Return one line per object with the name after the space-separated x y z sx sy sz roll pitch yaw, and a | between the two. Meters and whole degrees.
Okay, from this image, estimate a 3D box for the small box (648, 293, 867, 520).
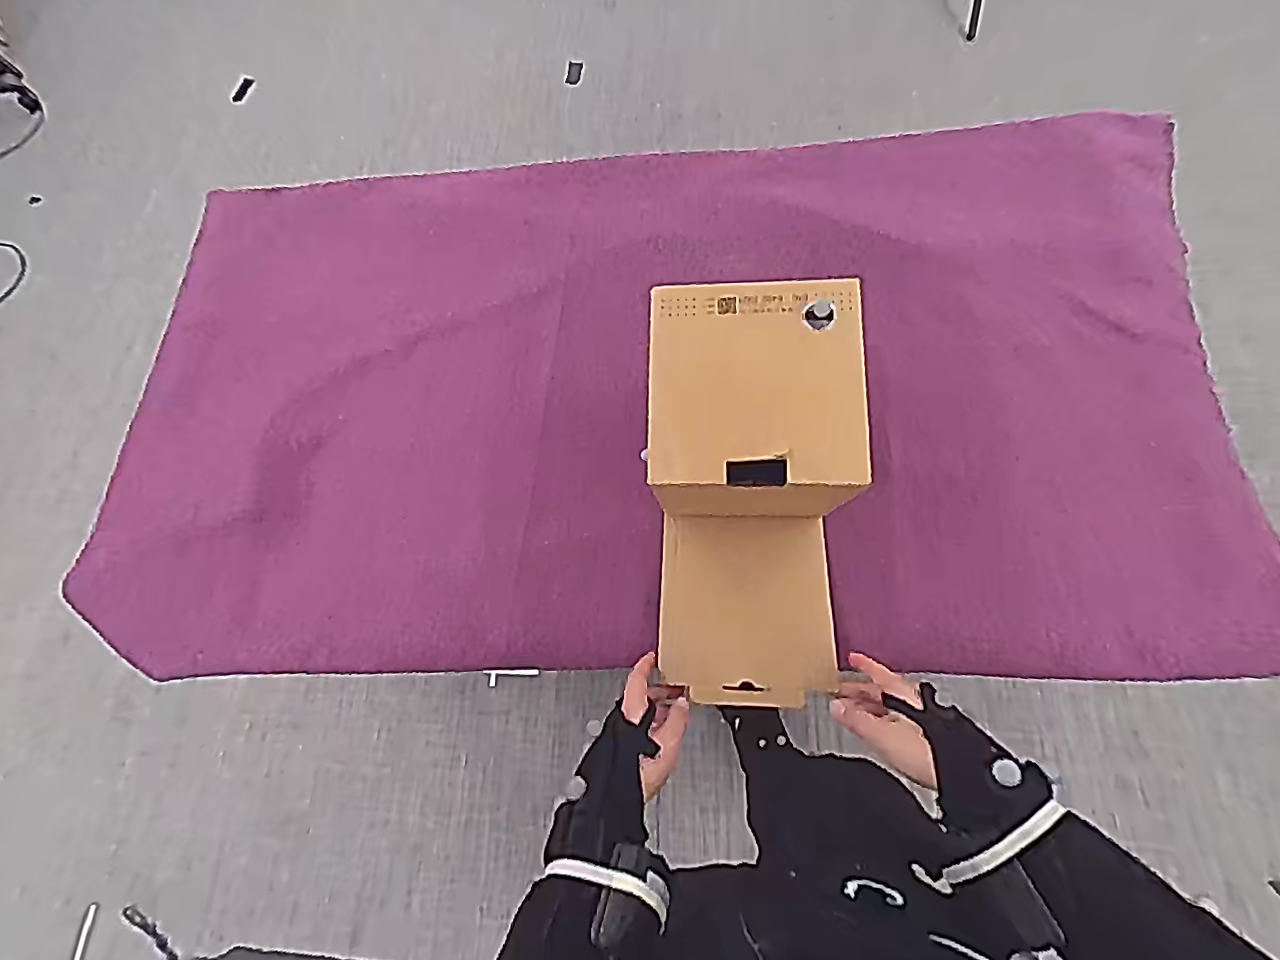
0.095 -0.057 0.498 0.168 0.179 0.176 1 79 7 | small box
